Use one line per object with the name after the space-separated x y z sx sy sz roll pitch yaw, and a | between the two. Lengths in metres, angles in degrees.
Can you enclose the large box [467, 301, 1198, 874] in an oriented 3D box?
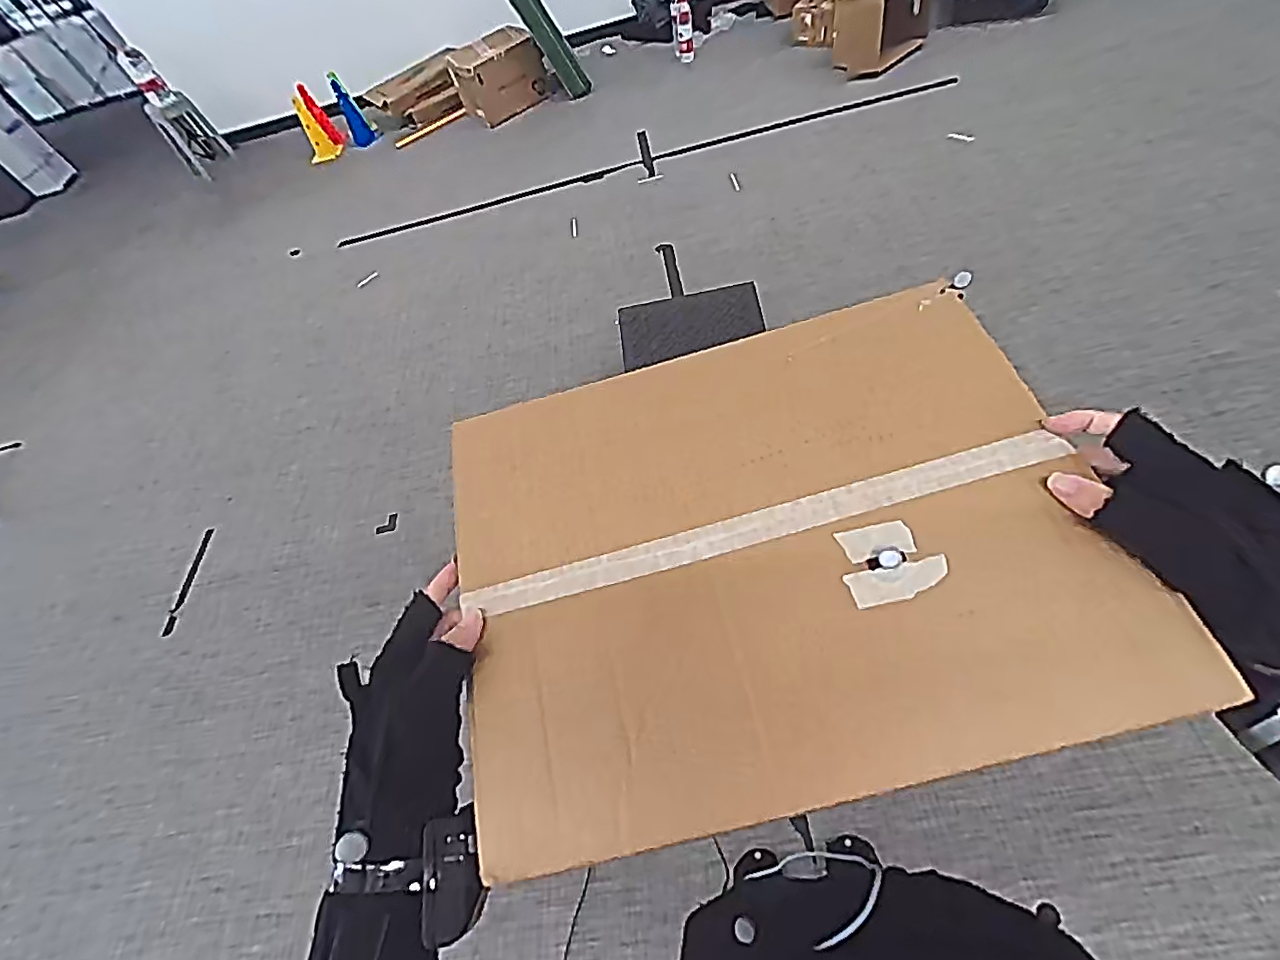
0.103 0.107 0.498 0.408 0.320 0.320 -16 61 2 | large box
